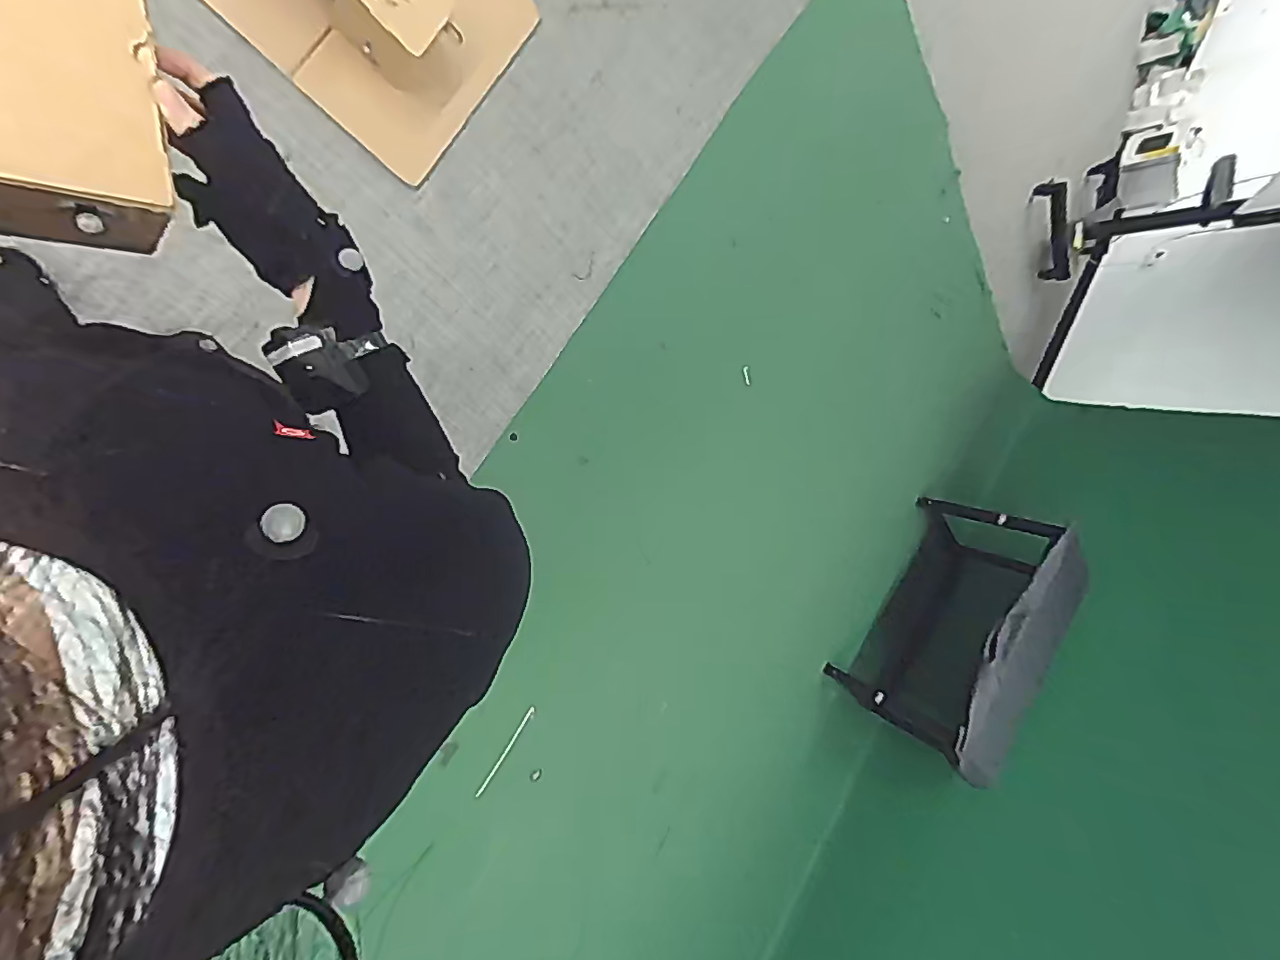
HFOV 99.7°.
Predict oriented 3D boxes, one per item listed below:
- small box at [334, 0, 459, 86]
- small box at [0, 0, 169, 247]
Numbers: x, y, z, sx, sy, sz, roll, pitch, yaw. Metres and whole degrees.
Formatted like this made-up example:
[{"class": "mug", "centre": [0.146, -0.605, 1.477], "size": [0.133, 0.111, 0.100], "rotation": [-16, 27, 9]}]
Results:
[{"class": "small box", "centre": [-0.524, -1.003, 1.155], "size": [0.168, 0.176, 0.179], "rotation": [37, 78, -36]}, {"class": "small box", "centre": [-0.403, -0.245, 0.311], "size": [0.179, 0.176, 0.168], "rotation": [-10, 104, -46]}]
